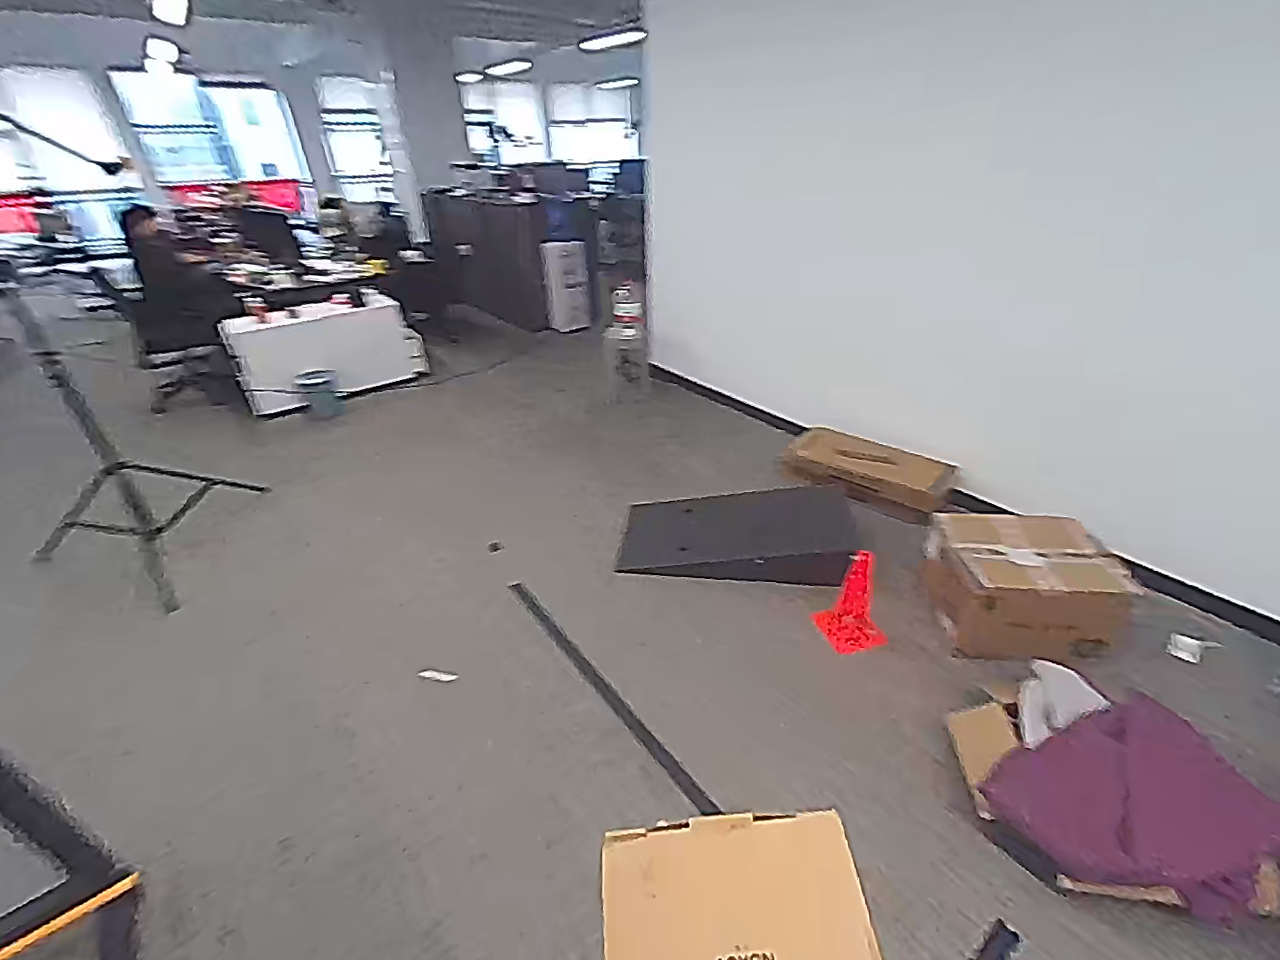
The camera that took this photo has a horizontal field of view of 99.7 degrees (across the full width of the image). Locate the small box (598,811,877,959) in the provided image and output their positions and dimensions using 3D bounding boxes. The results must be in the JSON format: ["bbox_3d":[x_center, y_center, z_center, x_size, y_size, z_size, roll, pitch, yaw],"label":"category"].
[{"bbox_3d":[0.058,0.349,0.365,0.168,0.176,0.179,-5,49,-5],"label":"small box"}]
